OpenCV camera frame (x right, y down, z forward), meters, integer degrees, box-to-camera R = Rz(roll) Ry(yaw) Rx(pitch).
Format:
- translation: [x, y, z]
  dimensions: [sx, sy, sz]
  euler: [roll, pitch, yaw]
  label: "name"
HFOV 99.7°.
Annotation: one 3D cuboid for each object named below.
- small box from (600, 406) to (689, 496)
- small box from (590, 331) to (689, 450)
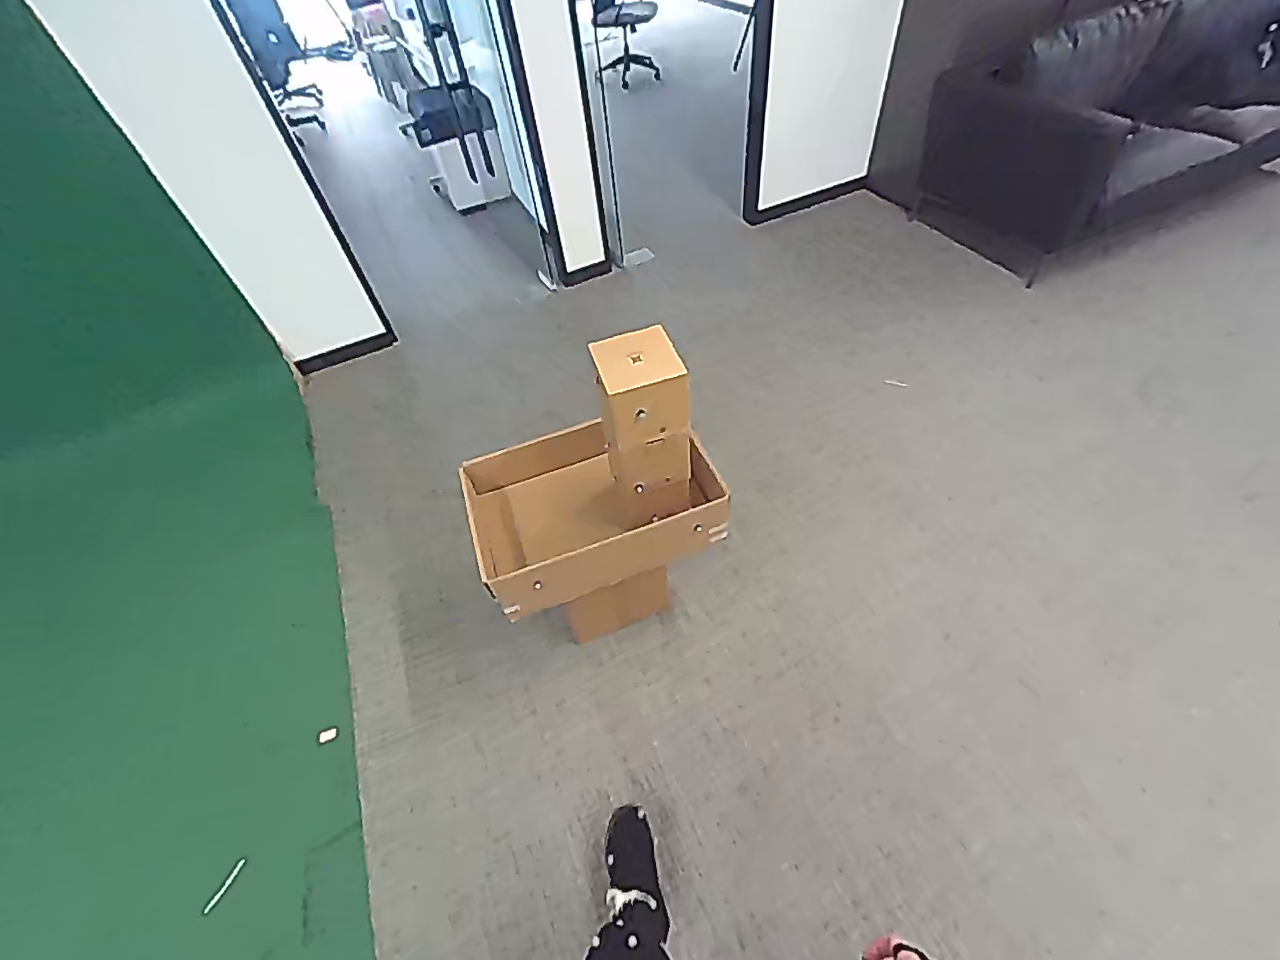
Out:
- translation: [0.014, -0.082, 1.286]
  dimensions: [0.168, 0.176, 0.179]
  euler: [-17, 50, -7]
  label: "small box"
- translation: [0.002, -0.184, 1.161]
  dimensions: [0.168, 0.176, 0.179]
  euler: [-17, 50, -6]
  label: "small box"
